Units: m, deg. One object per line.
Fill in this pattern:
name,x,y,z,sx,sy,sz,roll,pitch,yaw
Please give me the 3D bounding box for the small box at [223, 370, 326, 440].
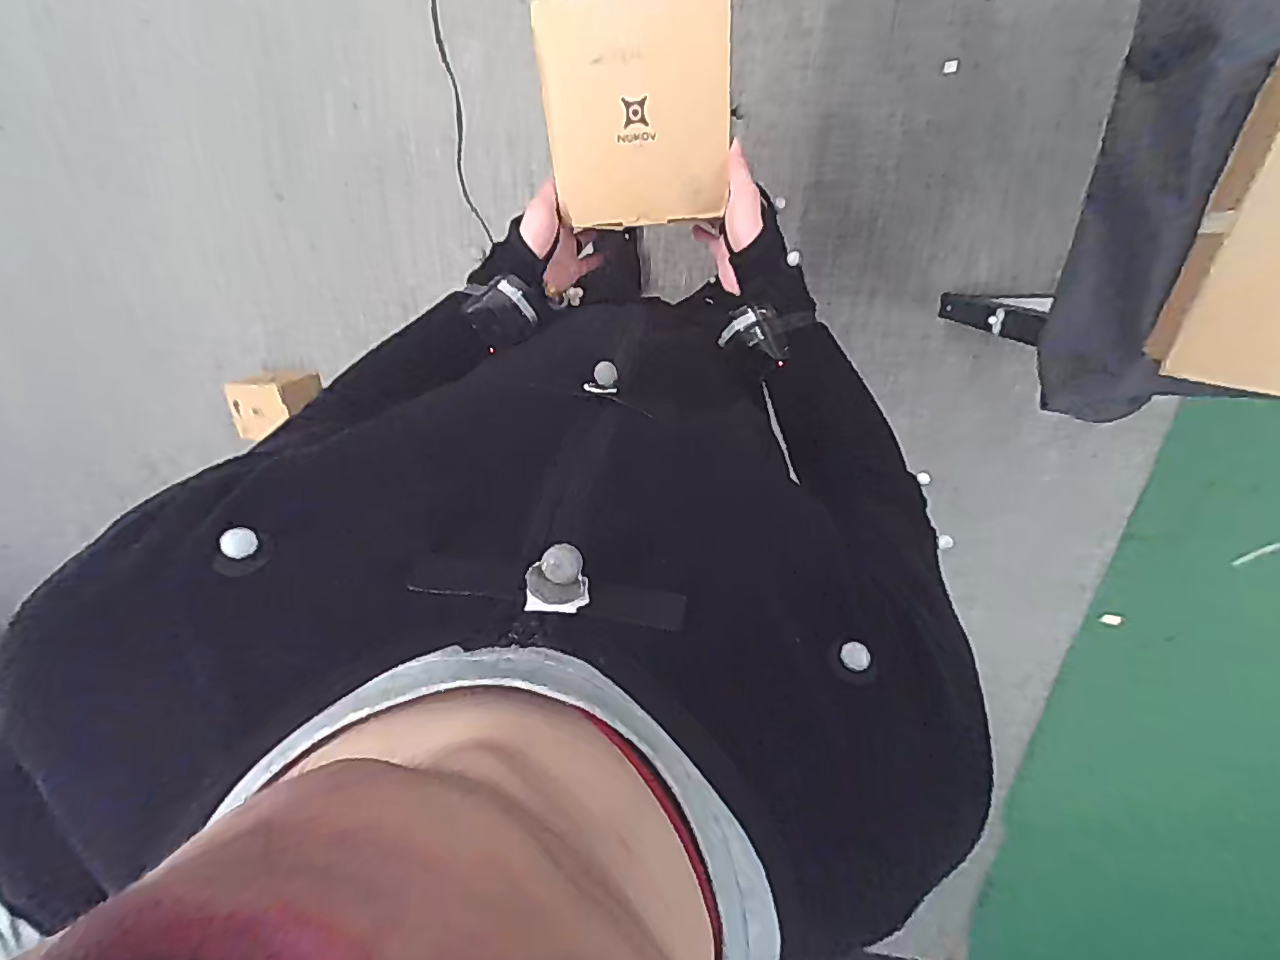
small box,-1.071,-0.227,1.608,0.179,0.176,0.168,1,116,7
